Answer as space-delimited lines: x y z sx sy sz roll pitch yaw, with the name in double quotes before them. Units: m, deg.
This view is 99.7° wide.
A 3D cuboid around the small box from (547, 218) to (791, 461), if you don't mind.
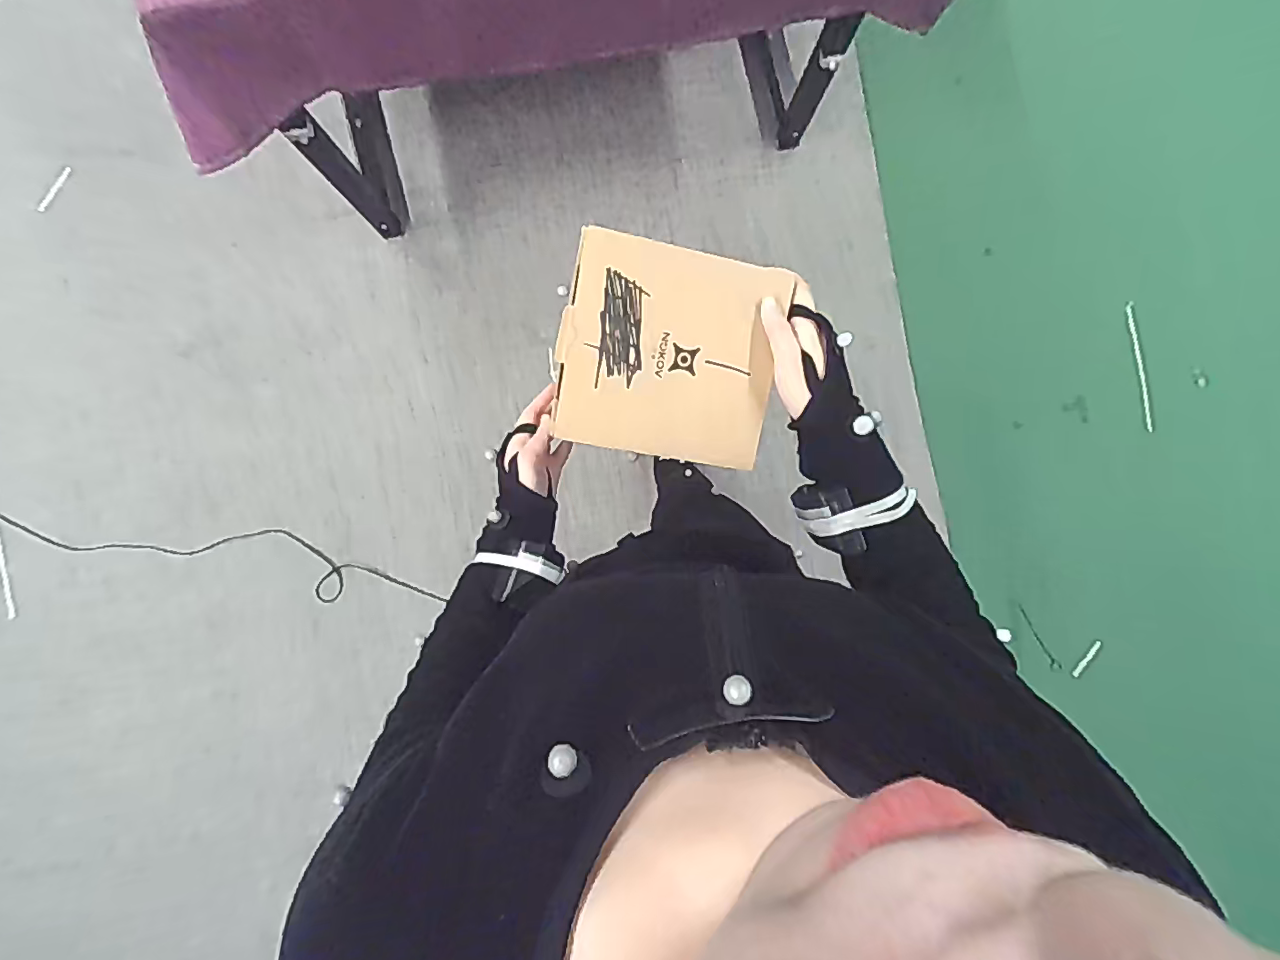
"small box" 0.012 -0.122 0.513 0.179 0.176 0.168 9 100 -11
